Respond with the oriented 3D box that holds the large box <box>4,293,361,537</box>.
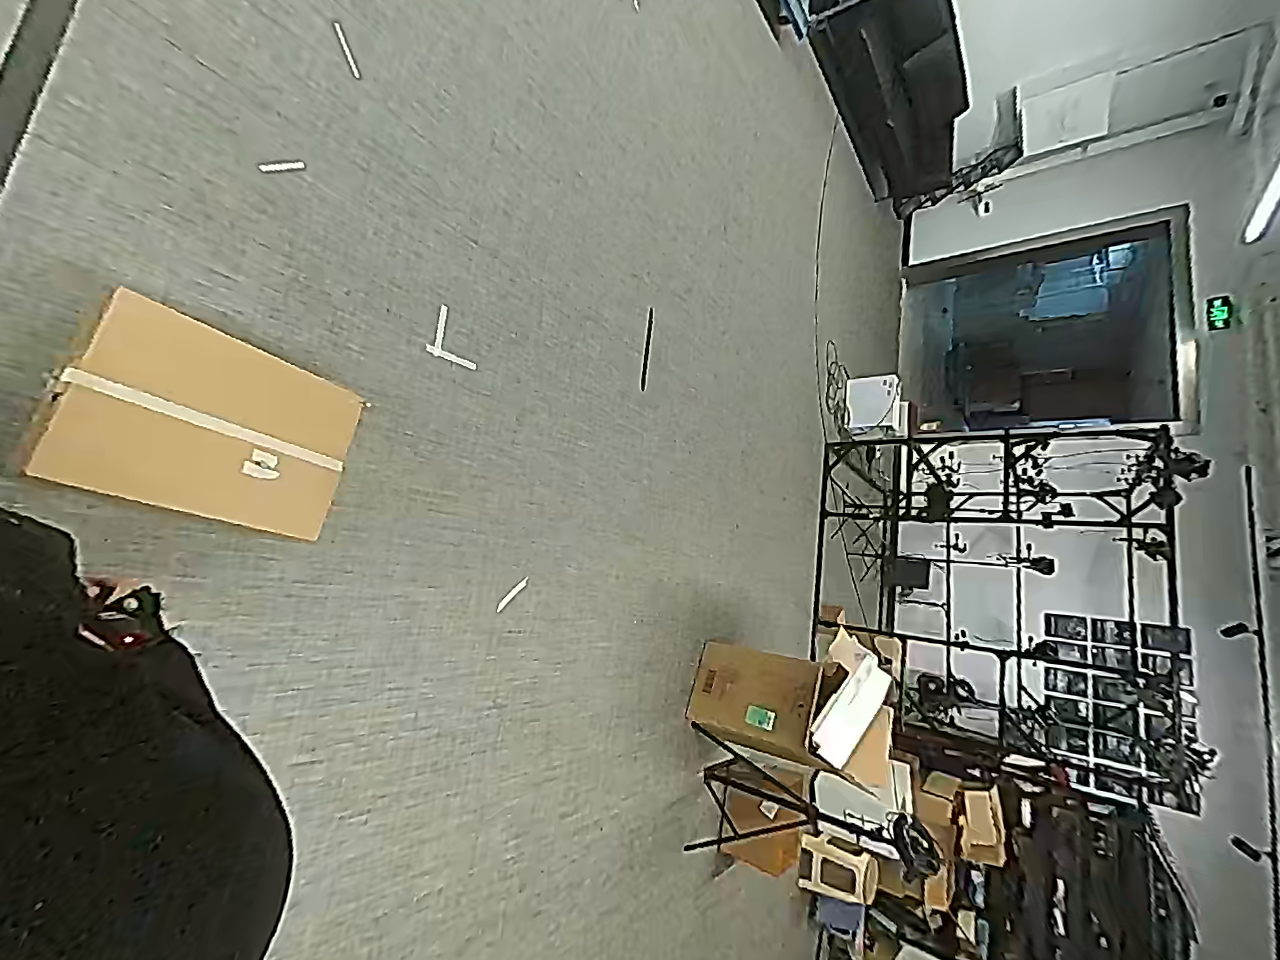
[{"bbox_3d":[-0.843,-0.088,1.033,0.408,0.320,0.320,30,67,-51],"label":"large box"}]
